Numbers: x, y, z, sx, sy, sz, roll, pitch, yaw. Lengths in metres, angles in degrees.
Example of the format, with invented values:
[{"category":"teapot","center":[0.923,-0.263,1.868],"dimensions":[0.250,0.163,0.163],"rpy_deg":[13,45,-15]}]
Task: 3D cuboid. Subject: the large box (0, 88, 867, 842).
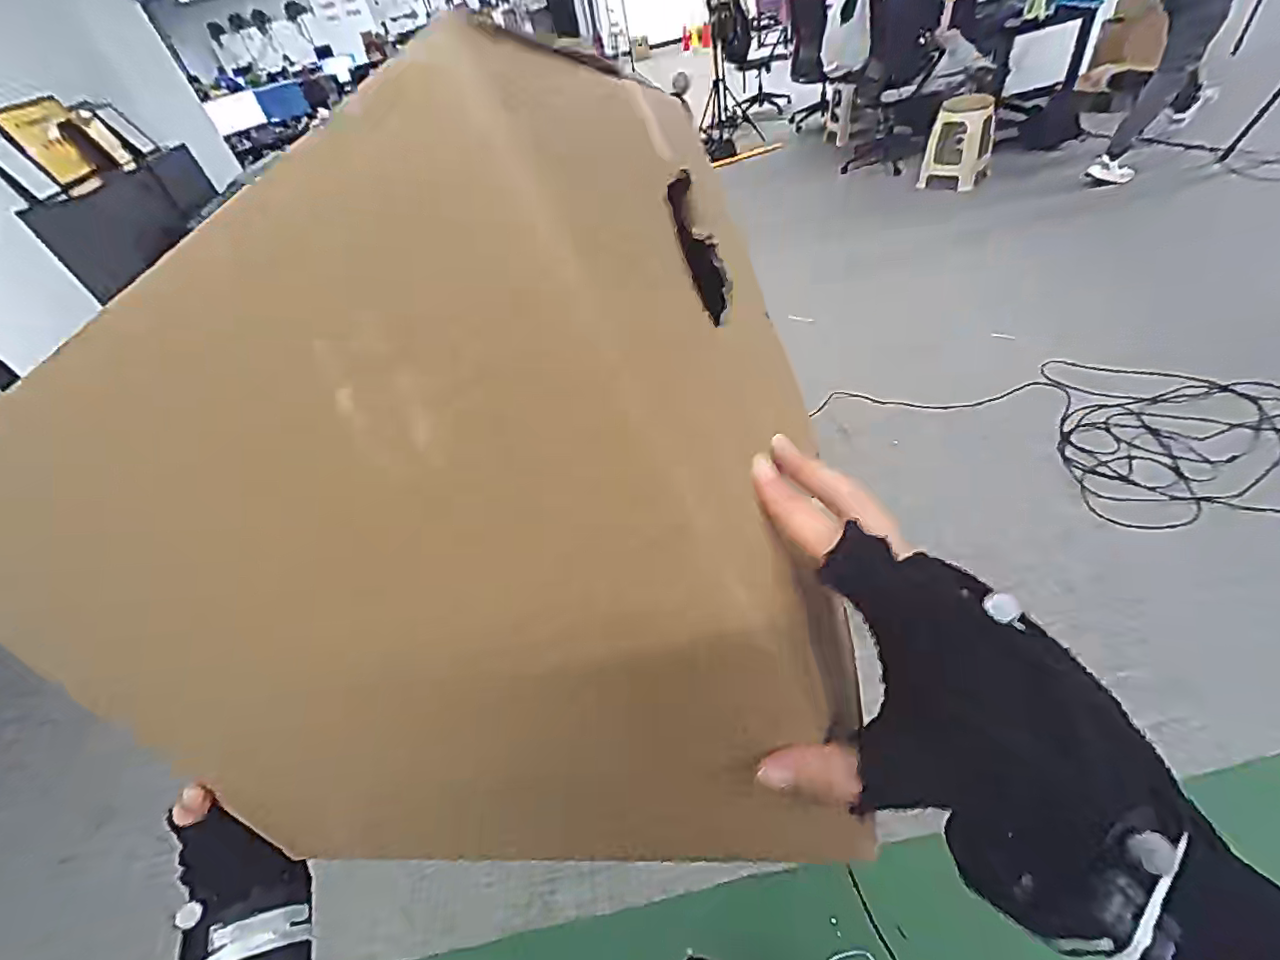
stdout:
[{"category":"large box","center":[-0.103,0.012,0.382],"dimensions":[0.408,0.320,0.320],"rpy_deg":[-17,27,24]}]
